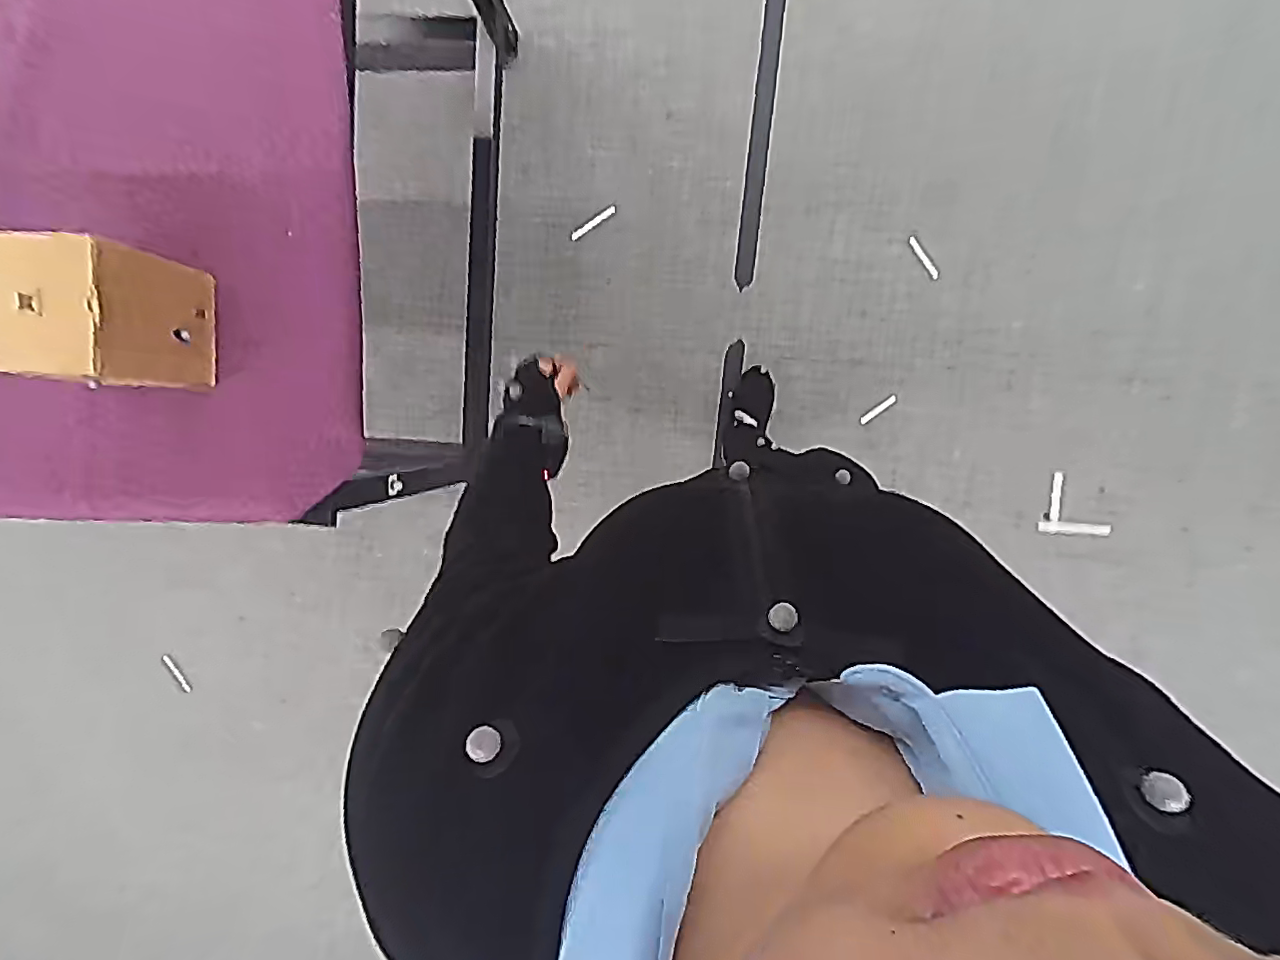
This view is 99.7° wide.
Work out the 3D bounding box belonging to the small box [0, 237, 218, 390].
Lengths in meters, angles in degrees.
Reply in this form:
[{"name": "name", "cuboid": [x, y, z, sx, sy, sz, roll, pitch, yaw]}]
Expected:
[{"name": "small box", "cuboid": [-0.724, -0.214, 0.733, 0.179, 0.176, 0.168, 3, 94, 5]}]
